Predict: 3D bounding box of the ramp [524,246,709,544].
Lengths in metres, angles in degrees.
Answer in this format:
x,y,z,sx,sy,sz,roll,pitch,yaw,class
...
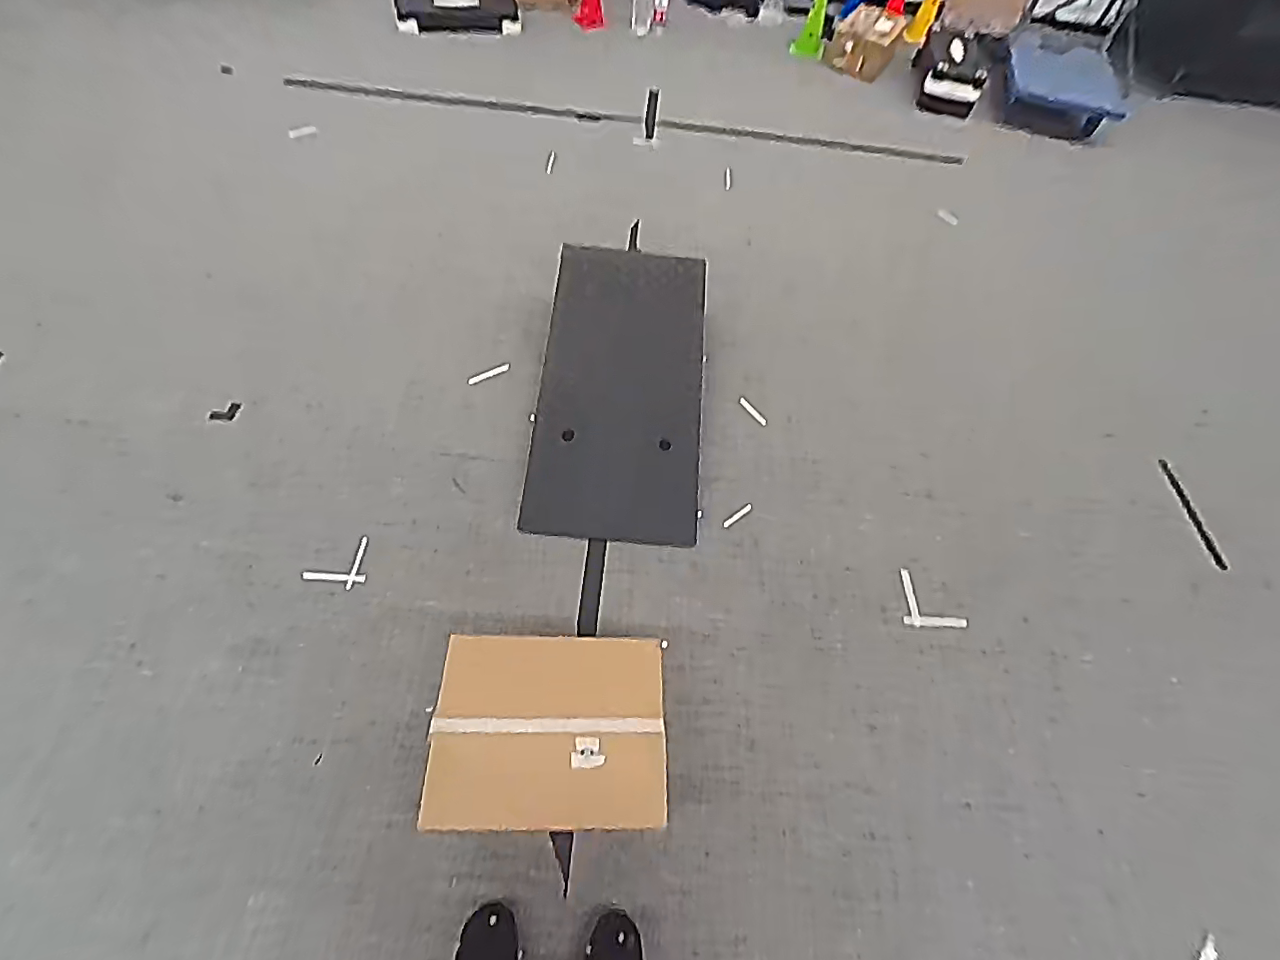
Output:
x,y,z,sx,sy,sz,roll,pitch,yaw,class
-0.039,-0.304,1.664,0.509,0.206,0.991,5,59,-4,ramp

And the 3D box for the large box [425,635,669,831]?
x,y,z,sx,sy,sz,roll,pitch,yaw,class
-0.166,0.511,1.082,0.408,0.320,0.320,3,58,-5,large box
